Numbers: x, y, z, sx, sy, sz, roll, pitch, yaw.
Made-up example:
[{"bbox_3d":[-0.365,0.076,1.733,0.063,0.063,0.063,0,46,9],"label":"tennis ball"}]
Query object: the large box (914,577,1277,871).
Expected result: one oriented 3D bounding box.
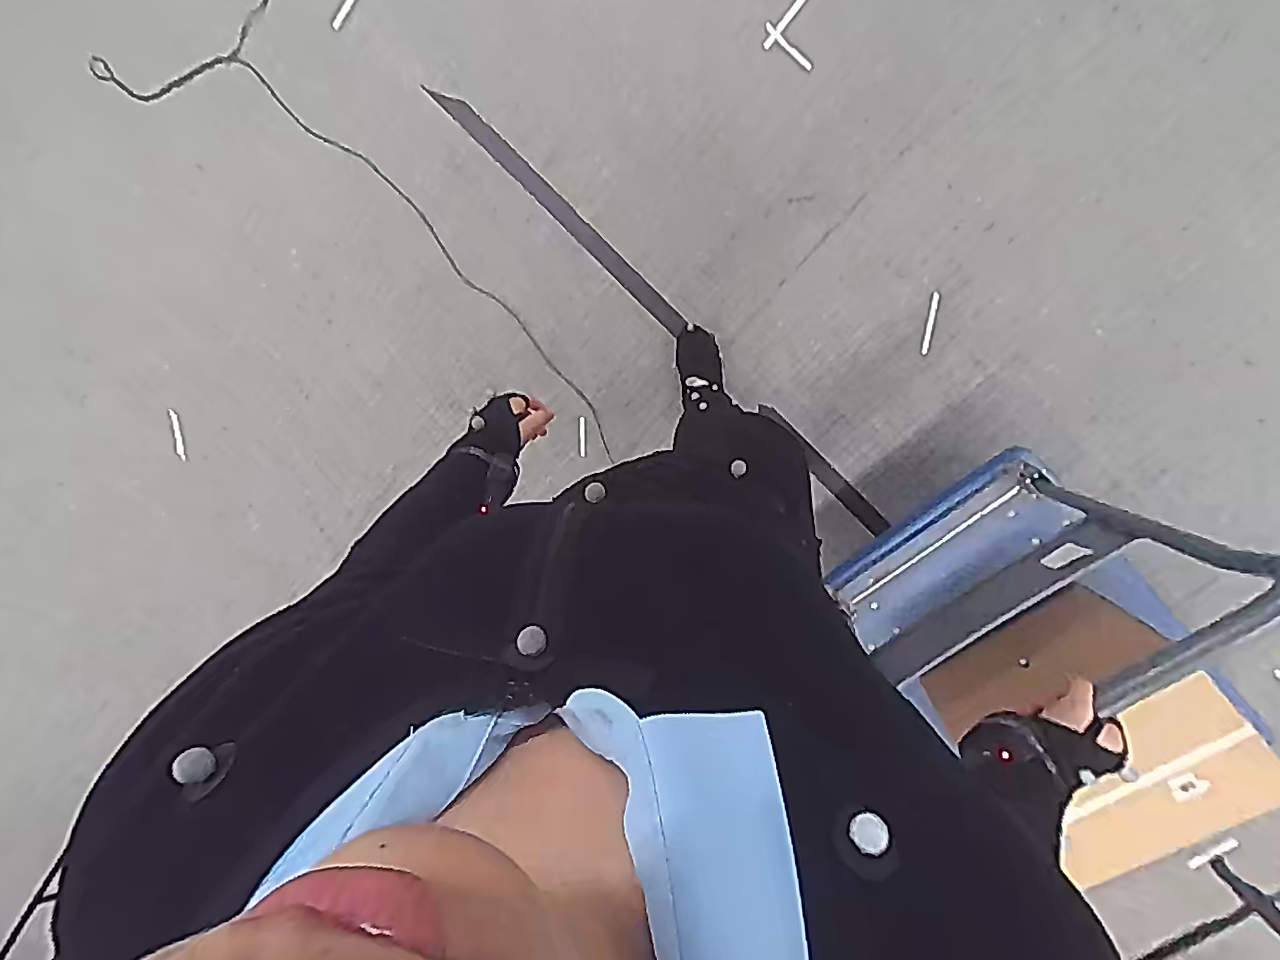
[{"bbox_3d":[0.869,0.473,1.108,0.408,0.320,0.320,-40,93,14],"label":"large box"}]
